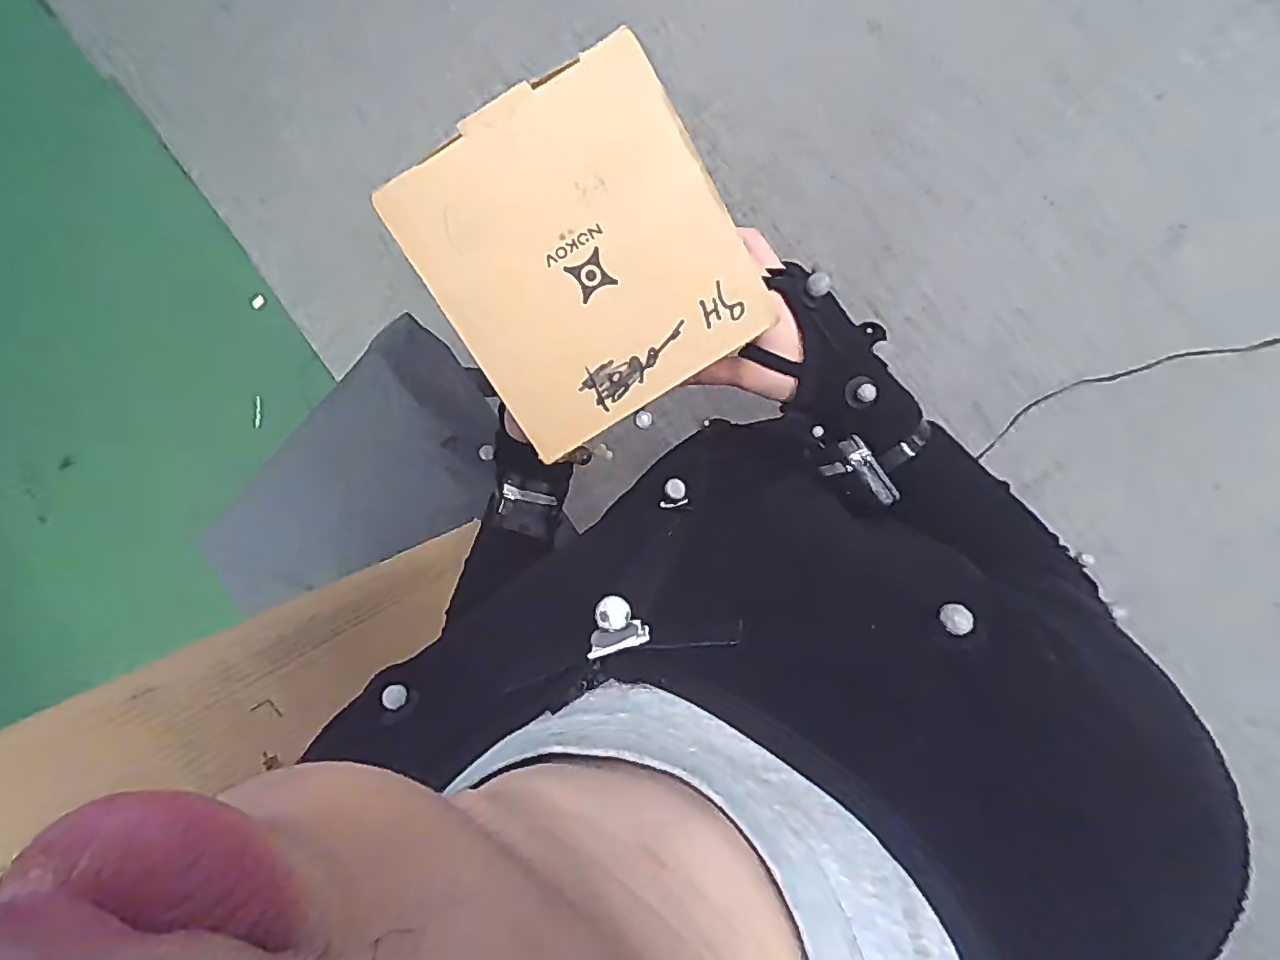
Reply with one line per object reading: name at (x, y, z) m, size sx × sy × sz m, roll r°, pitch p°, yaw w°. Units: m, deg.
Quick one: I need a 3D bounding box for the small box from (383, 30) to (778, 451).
small box at (-0.034, -0.142, 0.384) m, size 0.168 × 0.176 × 0.179 m, roll -30°, pitch 102°, yaw 4°
